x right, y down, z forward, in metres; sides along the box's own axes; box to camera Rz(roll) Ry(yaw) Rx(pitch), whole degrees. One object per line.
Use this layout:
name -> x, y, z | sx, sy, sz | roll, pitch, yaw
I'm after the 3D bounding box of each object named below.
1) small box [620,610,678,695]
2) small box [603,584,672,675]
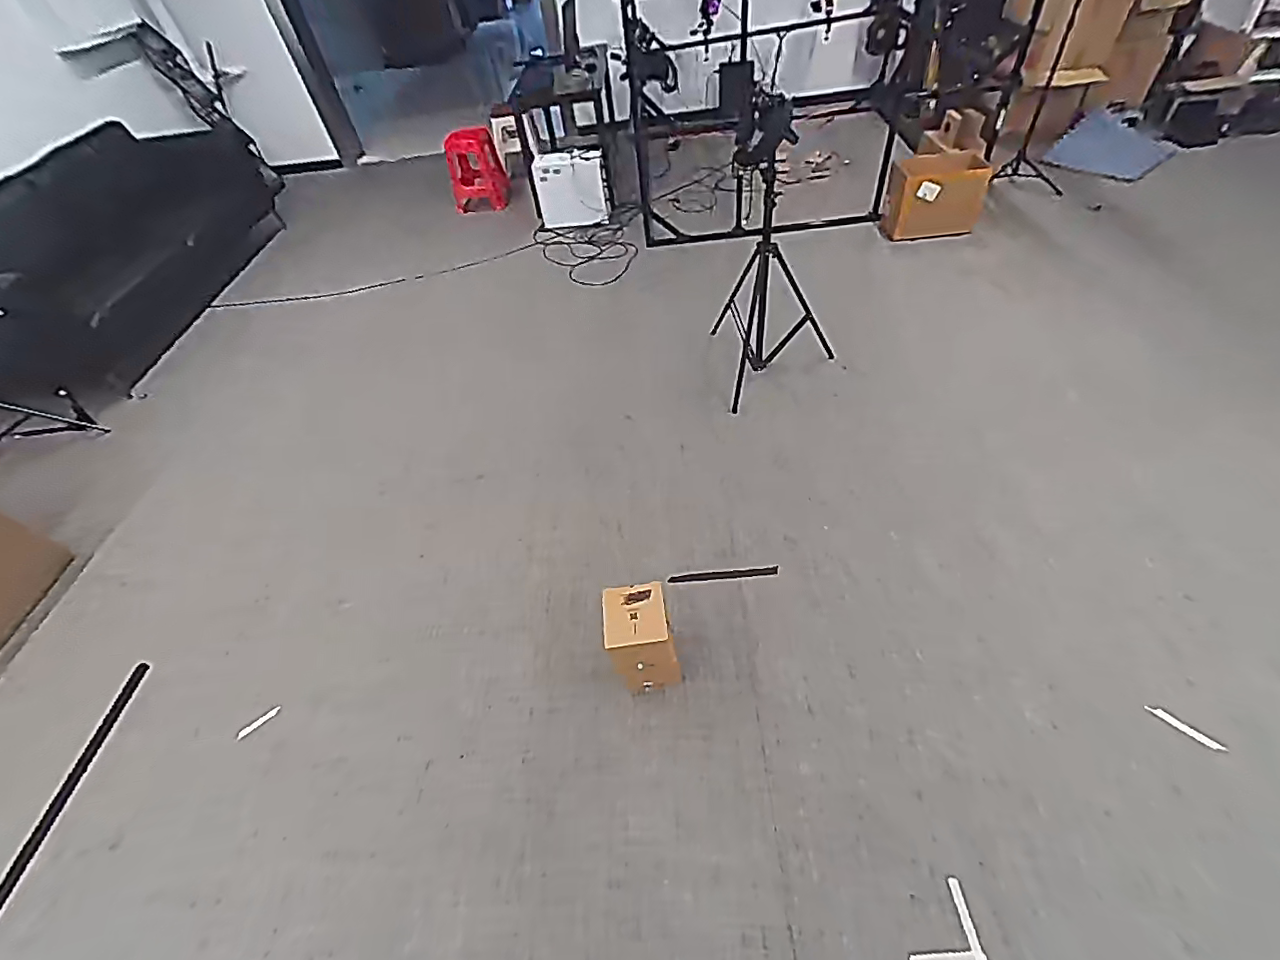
small box -> 0.019, 0.514, 1.608 | 0.168, 0.176, 0.179 | -10, 48, 1
small box -> -0.008, 0.411, 1.483 | 0.168, 0.176, 0.179 | -9, 49, 2
